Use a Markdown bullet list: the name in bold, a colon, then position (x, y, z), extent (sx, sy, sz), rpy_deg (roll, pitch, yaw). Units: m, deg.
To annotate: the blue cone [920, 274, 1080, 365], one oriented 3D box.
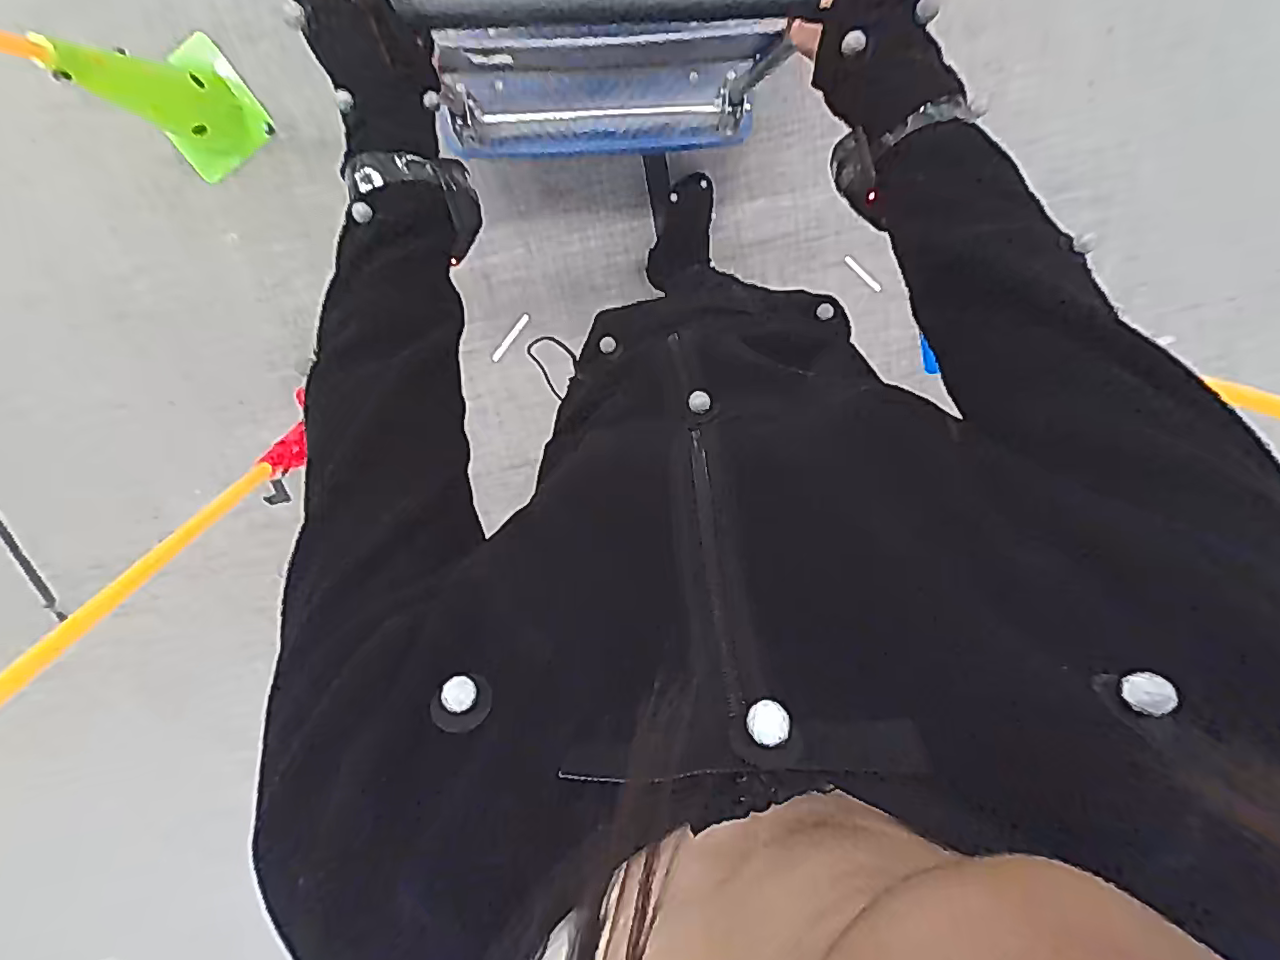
- **blue cone**: position (0.810, -0.336, 1.198), extent (0.193, 0.380, 0.192), rpy_deg (-16, 111, 3)
